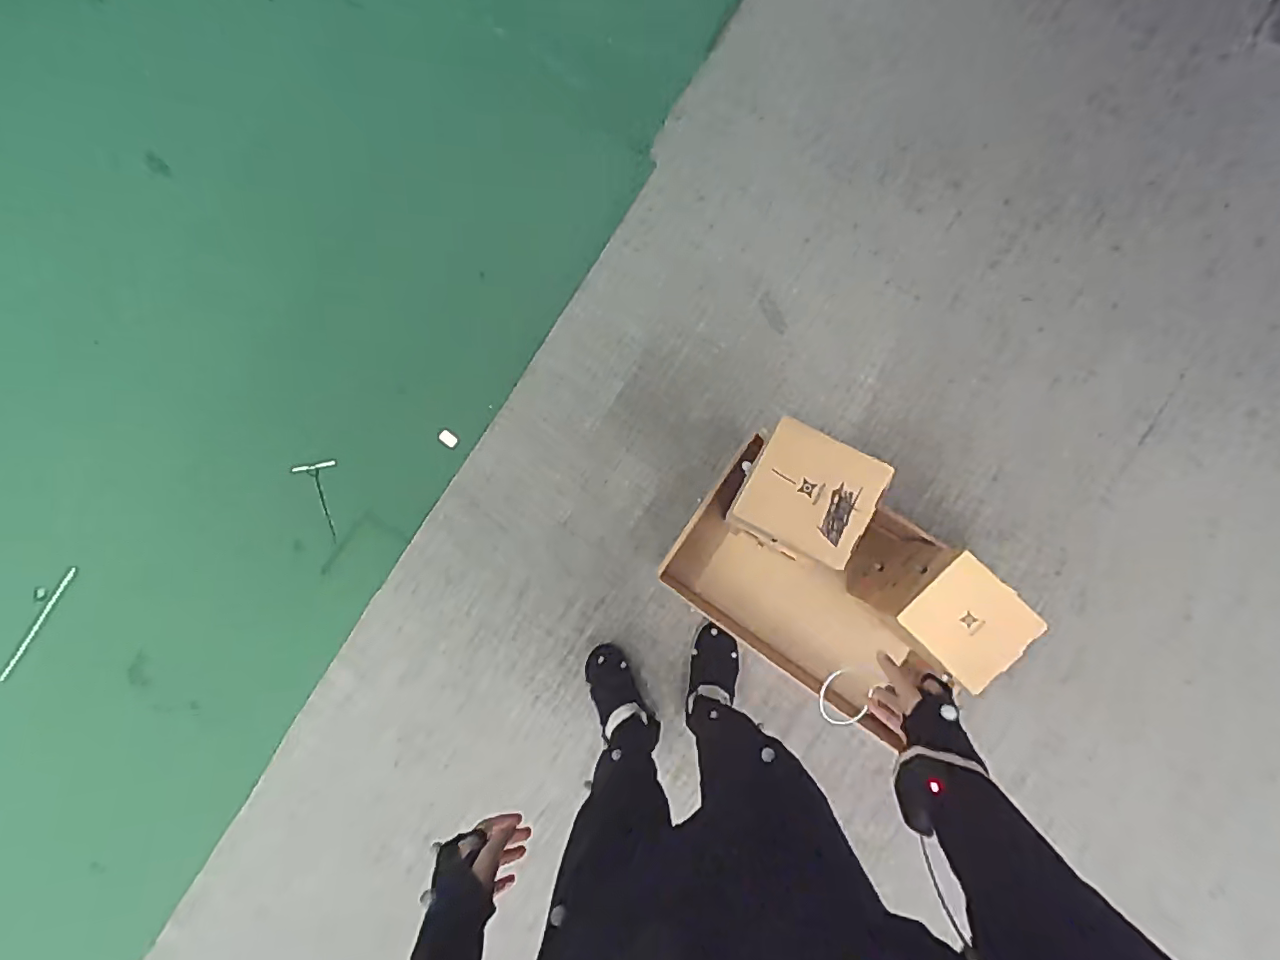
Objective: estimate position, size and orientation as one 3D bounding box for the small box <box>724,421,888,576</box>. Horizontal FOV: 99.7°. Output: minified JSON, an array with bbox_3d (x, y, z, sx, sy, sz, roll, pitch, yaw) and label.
[{"bbox_3d":[0.246,0.030,0.846,0.179,0.176,0.168,29,88,10],"label":"small box"}]

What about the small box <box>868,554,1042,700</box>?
[{"bbox_3d":[0.541,0.248,0.961,0.168,0.176,0.179,-44,82,2],"label":"small box"}]

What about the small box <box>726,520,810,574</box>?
[{"bbox_3d":[0.269,0.052,1.007,0.168,0.176,0.179,32,90,10],"label":"small box"}]
